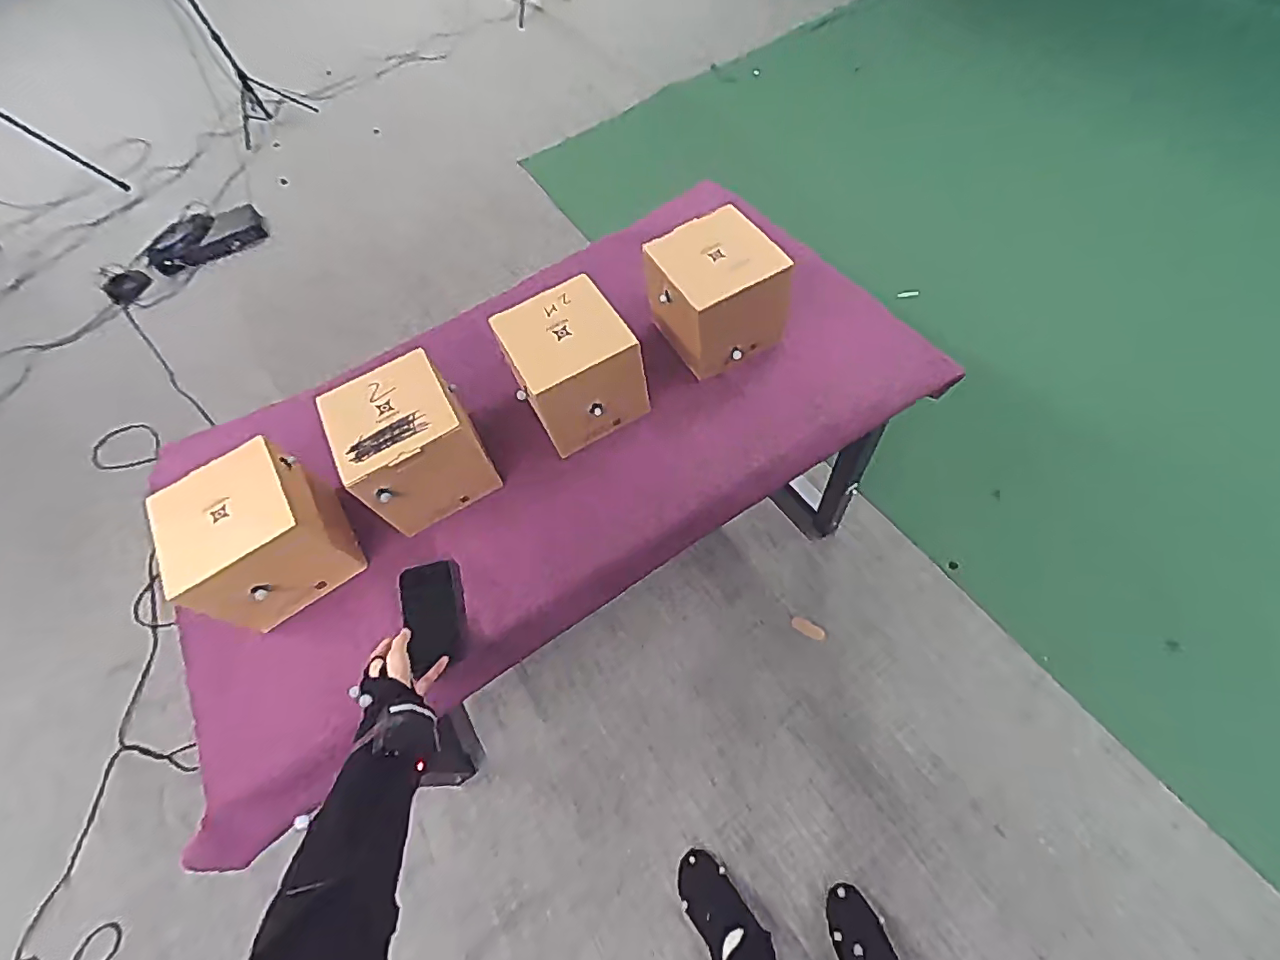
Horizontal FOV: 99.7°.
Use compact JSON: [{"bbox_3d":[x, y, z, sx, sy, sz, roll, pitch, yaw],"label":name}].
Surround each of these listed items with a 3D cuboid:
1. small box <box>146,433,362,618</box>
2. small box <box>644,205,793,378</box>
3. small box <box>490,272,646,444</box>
[{"bbox_3d":[-0.528,0.074,0.759,0.168,0.176,0.179,-34,61,-11],"label":"small box"},{"bbox_3d":[0.123,-0.302,0.883,0.168,0.176,0.179,-27,61,-7],"label":"small box"},{"bbox_3d":[-0.103,-0.178,0.842,0.168,0.176,0.179,-28,61,-9],"label":"small box"}]
